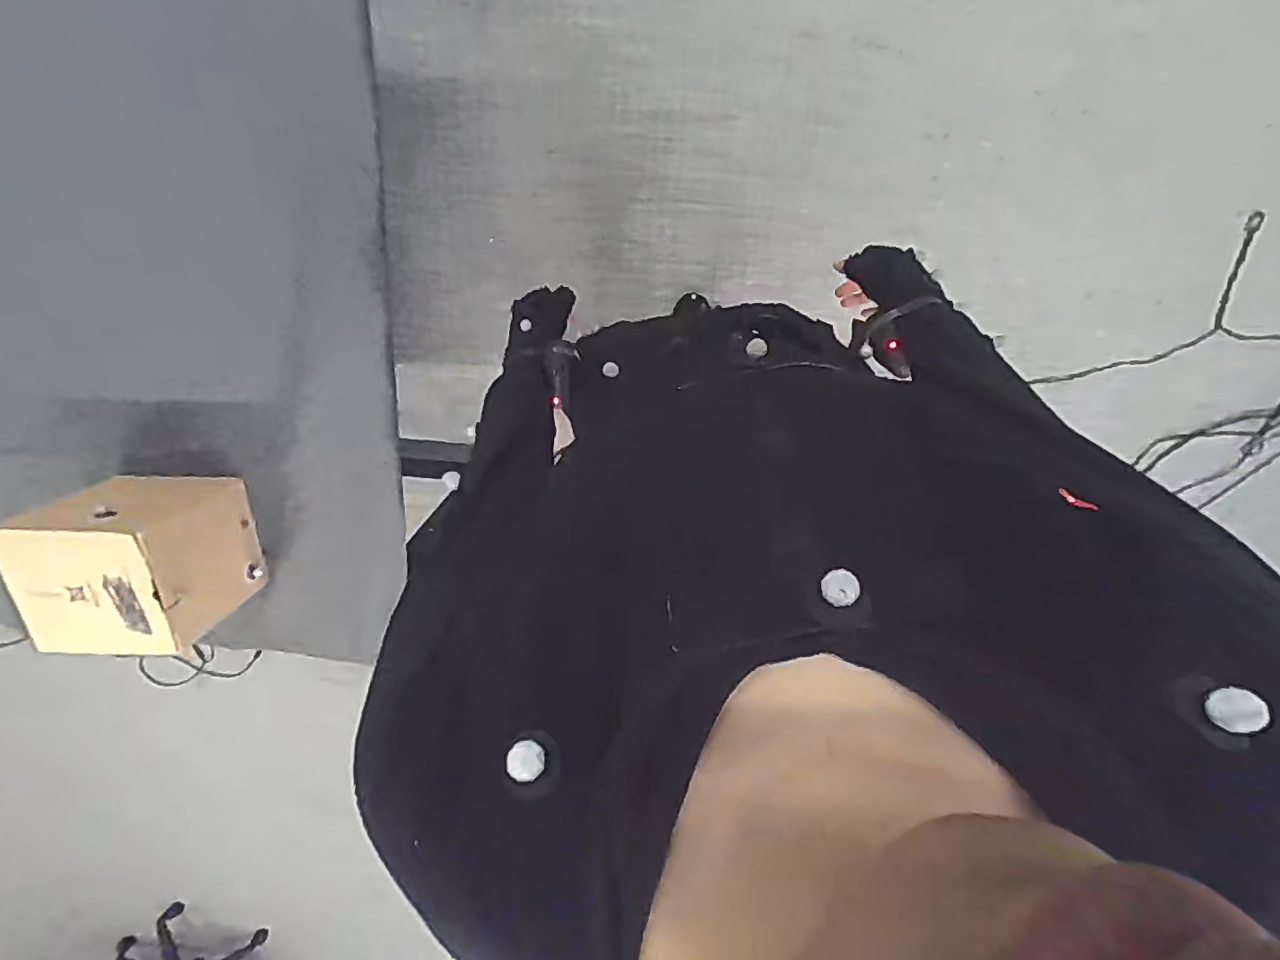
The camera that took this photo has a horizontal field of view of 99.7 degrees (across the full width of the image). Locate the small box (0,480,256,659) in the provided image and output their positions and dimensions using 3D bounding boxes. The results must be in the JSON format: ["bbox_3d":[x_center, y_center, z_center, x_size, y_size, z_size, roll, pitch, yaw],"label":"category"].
[{"bbox_3d":[-0.629,0.105,0.686,0.179,0.176,0.168,1,111,2],"label":"small box"}]
